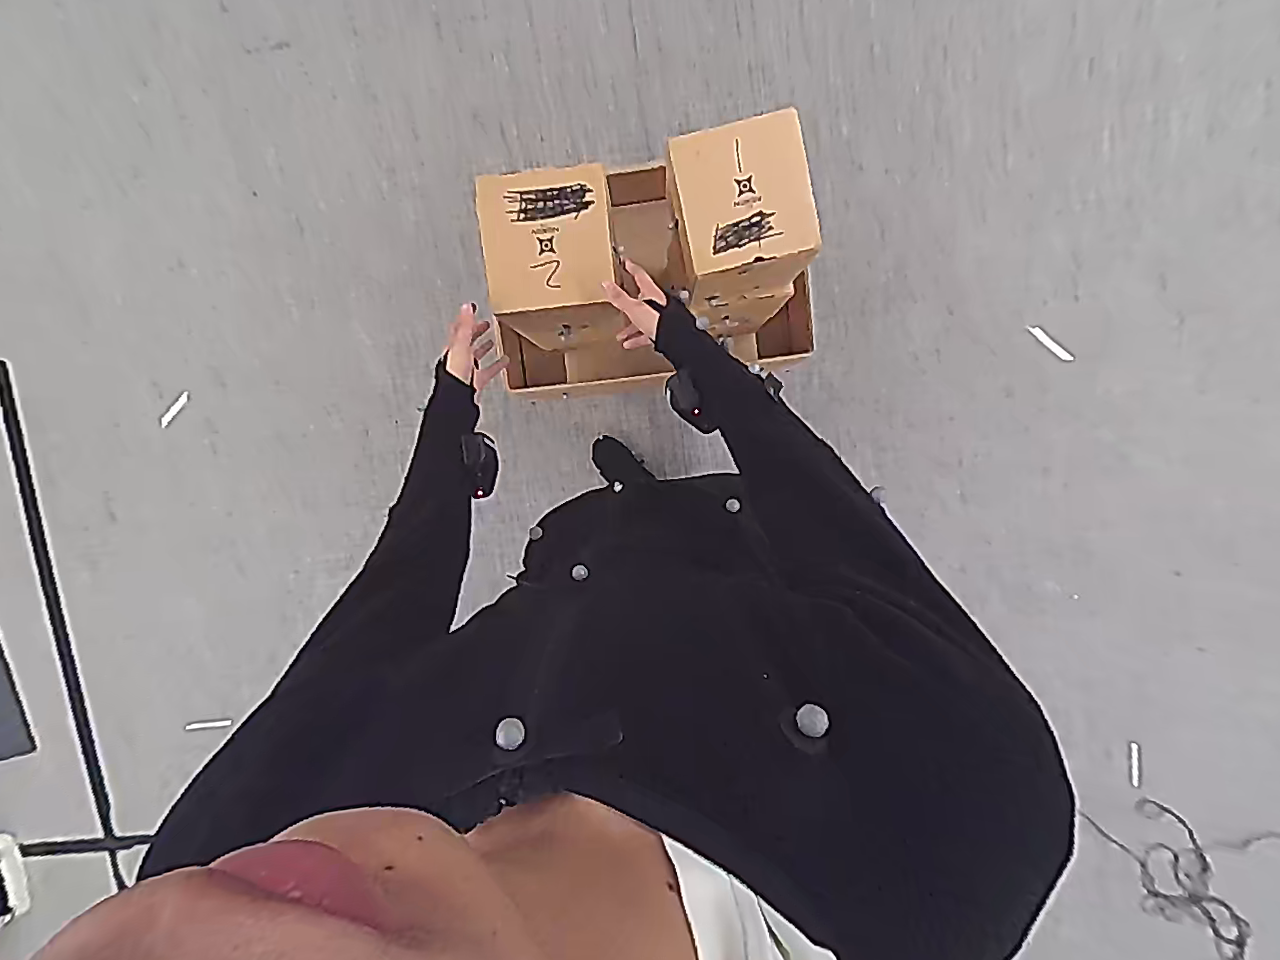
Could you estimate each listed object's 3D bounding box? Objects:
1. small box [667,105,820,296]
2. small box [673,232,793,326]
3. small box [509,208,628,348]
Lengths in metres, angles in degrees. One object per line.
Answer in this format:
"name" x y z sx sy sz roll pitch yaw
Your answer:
"small box" 0.135 -0.370 0.756 0.168 0.176 0.179 -12 95 3
"small box" 0.149 -0.375 0.920 0.168 0.176 0.179 -9 96 3
"small box" -0.115 -0.337 0.933 0.168 0.176 0.179 -6 94 4
